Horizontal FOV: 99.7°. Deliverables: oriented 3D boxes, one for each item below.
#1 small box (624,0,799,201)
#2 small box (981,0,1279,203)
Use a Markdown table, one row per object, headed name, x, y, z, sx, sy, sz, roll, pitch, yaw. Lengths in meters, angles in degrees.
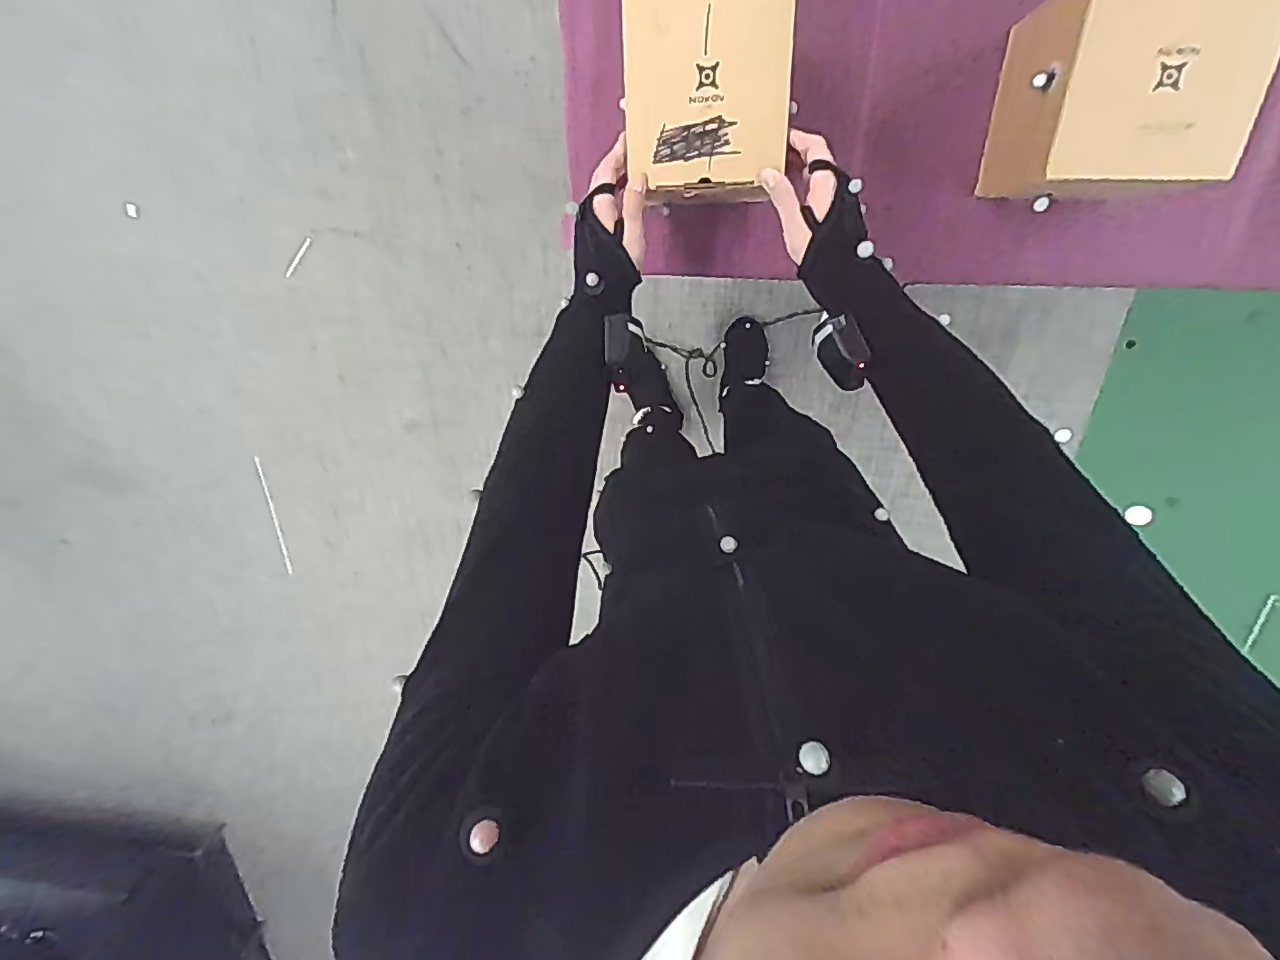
| name | x | y | z | sx | sy | sz | roll | pitch | yaw |
| --- | --- | --- | --- | --- | --- | --- | --- | --- | --- |
| small box | 0.076 | -0.414 | 0.601 | 0.168 | 0.176 | 0.179 | 1 | 111 | 6 |
| small box | 0.489 | -0.395 | 0.558 | 0.168 | 0.176 | 0.179 | 5 | 112 | 6 |
